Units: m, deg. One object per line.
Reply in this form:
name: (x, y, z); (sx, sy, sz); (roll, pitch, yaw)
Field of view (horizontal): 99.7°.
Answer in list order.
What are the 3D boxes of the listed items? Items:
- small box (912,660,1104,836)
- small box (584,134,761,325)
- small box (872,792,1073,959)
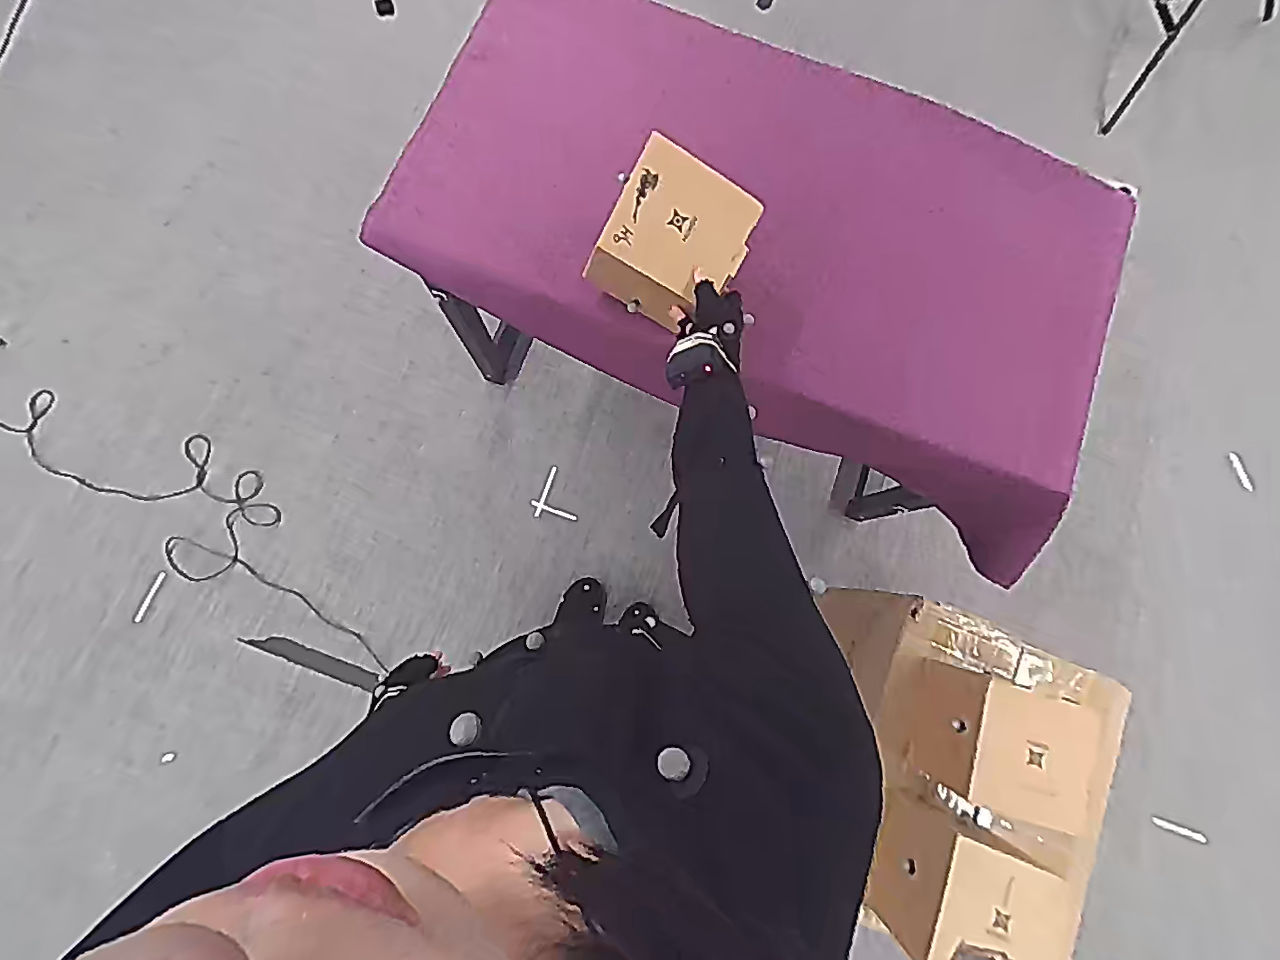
small box: (0.544, 0.389, 0.822); (0.168, 0.176, 0.179); (16, 81, 1)
small box: (0.036, -0.340, 0.781); (0.179, 0.176, 0.168); (26, 89, -14)
small box: (0.463, 0.593, 0.778); (0.168, 0.176, 0.179); (22, 77, 1)
